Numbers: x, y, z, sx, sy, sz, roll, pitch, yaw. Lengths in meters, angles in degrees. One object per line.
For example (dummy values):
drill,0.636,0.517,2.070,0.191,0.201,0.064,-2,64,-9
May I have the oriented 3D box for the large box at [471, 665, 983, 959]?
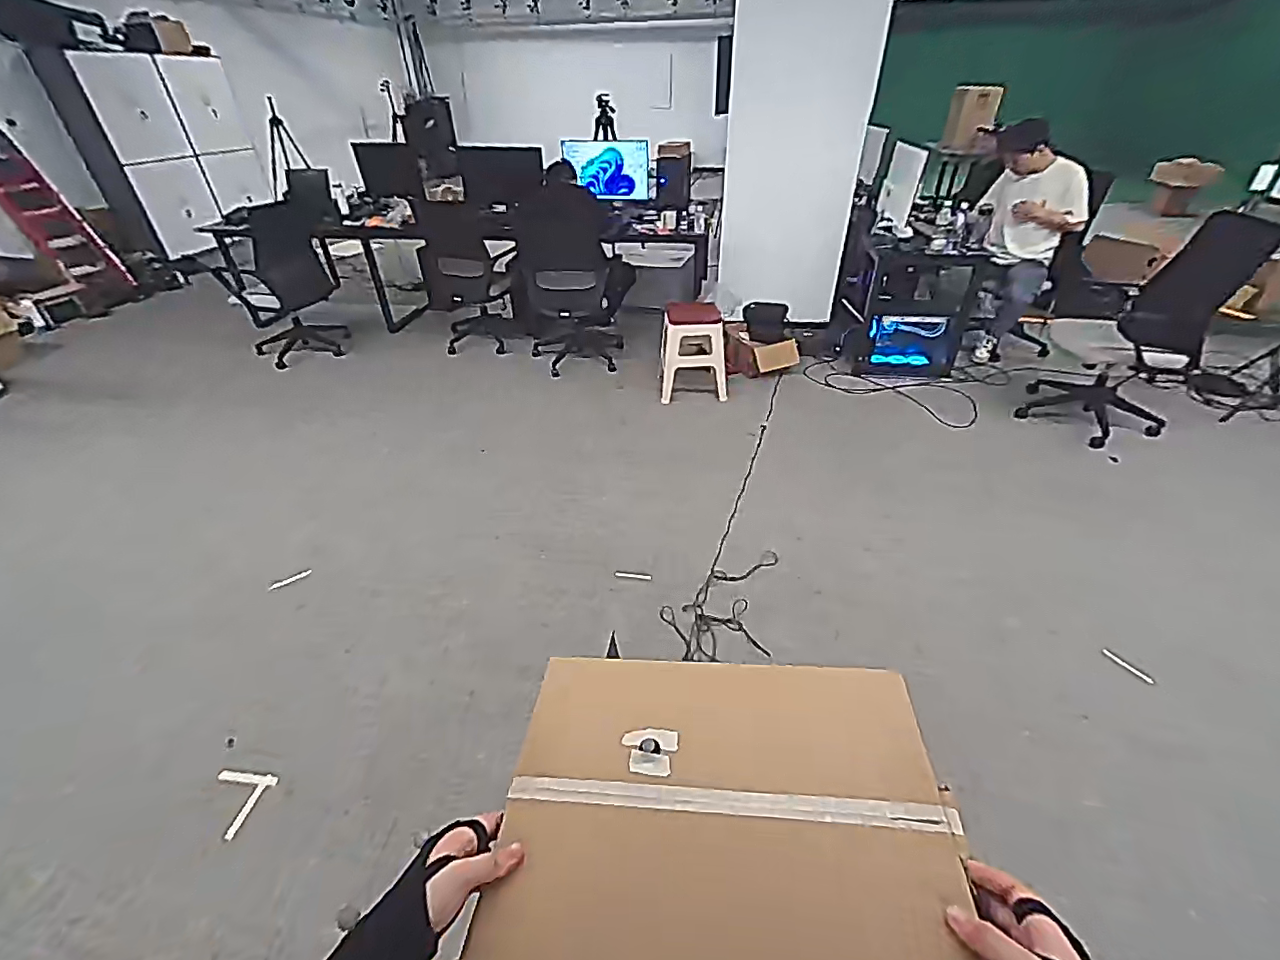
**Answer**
large box,0.093,0.429,0.601,0.408,0.320,0.320,-3,33,10
